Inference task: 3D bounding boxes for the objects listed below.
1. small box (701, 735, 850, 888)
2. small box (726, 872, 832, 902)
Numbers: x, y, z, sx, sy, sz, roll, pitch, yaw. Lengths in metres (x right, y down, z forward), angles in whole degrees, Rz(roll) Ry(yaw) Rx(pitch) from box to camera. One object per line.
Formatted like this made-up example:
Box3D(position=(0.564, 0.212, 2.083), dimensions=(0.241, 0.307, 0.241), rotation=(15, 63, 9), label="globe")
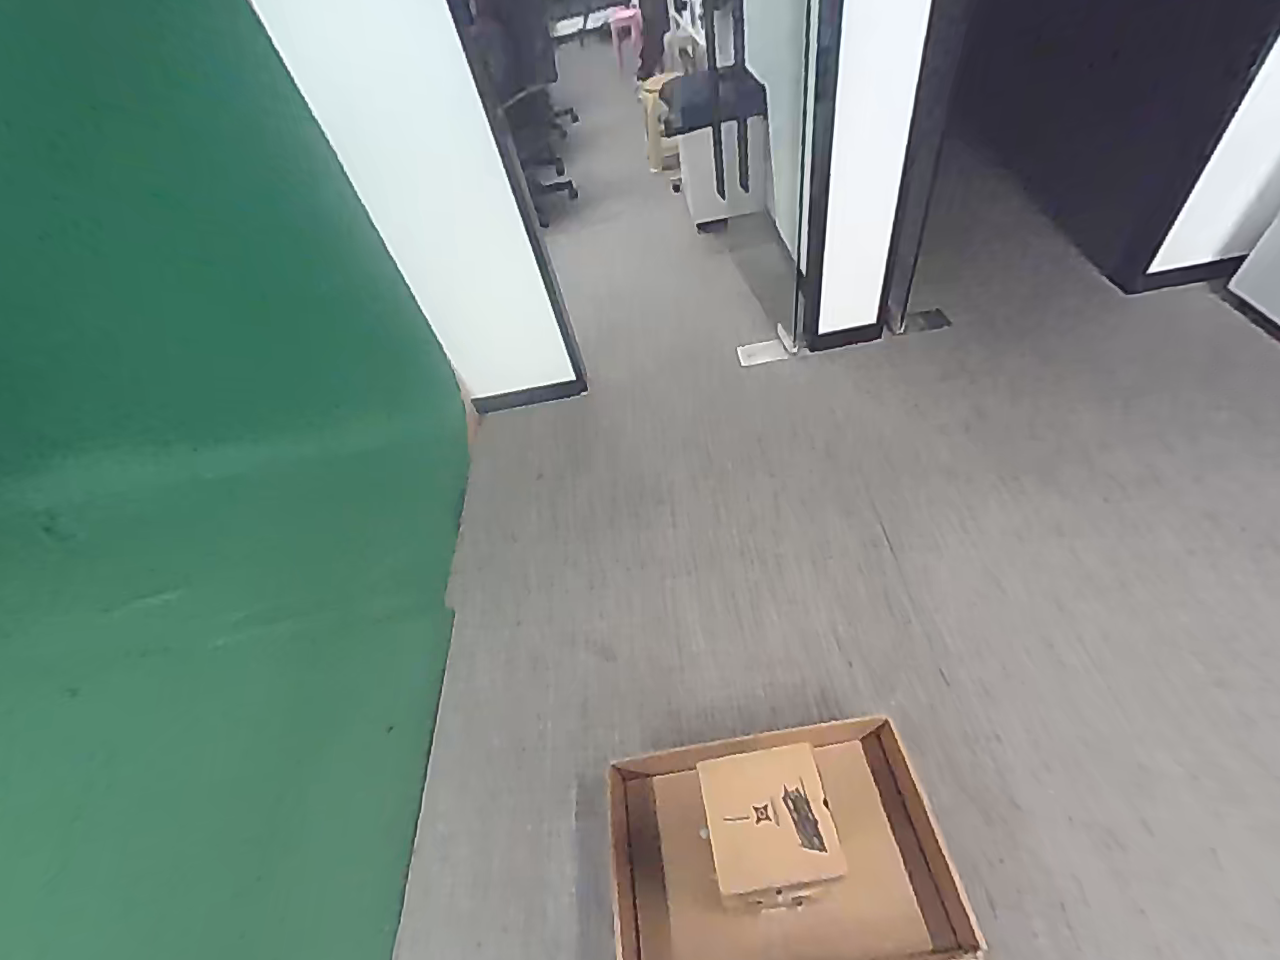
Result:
Box3D(position=(0.200, 0.514, 0.833), dimensions=(0.179, 0.176, 0.168), rotation=(-12, 49, 3), label="small box")
Box3D(position=(0.219, 0.612, 0.941), dimensions=(0.168, 0.176, 0.179), rotation=(-14, 50, 2), label="small box")
